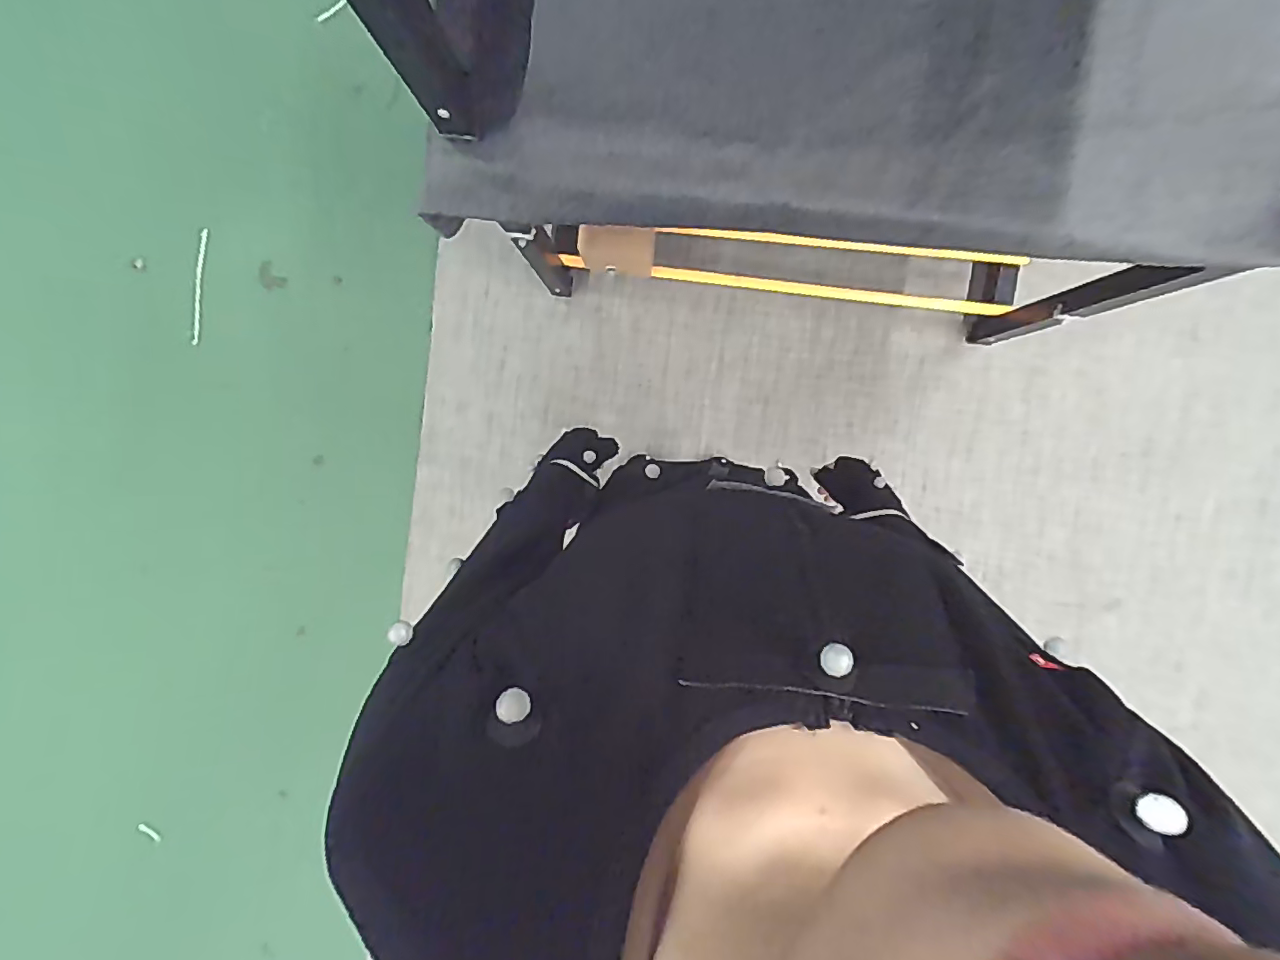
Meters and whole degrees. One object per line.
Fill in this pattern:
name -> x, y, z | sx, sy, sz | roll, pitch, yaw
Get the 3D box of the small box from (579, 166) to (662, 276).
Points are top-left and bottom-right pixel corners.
small box -> -0.042, -0.595, 1.257 | 0.168, 0.176, 0.179 | 7, 96, 2
